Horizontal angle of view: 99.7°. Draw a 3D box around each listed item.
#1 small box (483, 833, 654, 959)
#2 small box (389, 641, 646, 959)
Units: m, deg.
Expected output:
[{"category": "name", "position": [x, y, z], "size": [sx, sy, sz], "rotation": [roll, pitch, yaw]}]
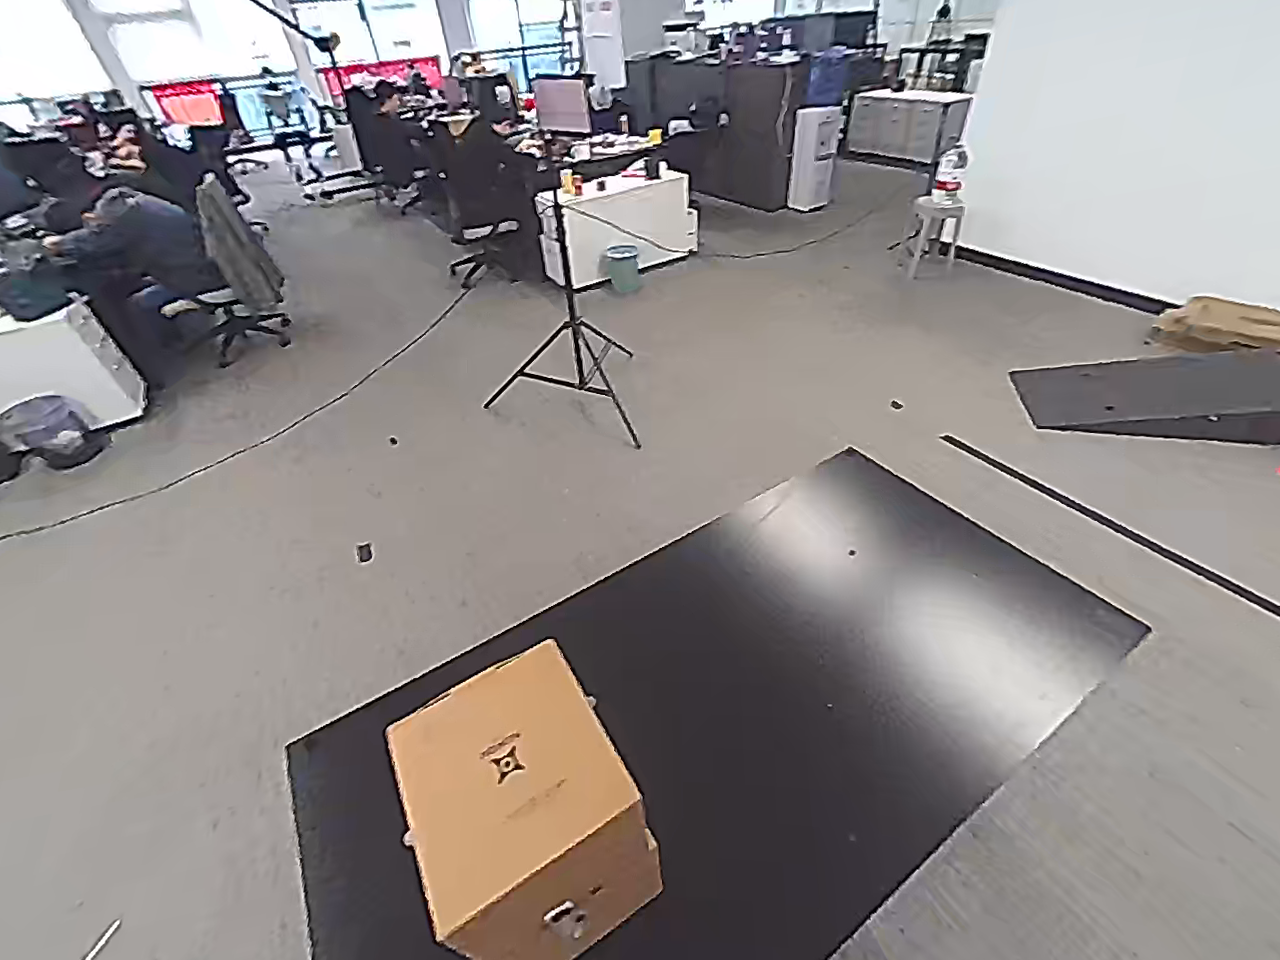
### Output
[{"category": "small box", "position": [-0.097, 0.419, 0.618], "size": [0.179, 0.176, 0.168], "rotation": [-23, 44, -22]}, {"category": "small box", "position": [-0.108, 0.297, 0.511], "size": [0.168, 0.176, 0.179], "rotation": [-26, 45, -21]}]
